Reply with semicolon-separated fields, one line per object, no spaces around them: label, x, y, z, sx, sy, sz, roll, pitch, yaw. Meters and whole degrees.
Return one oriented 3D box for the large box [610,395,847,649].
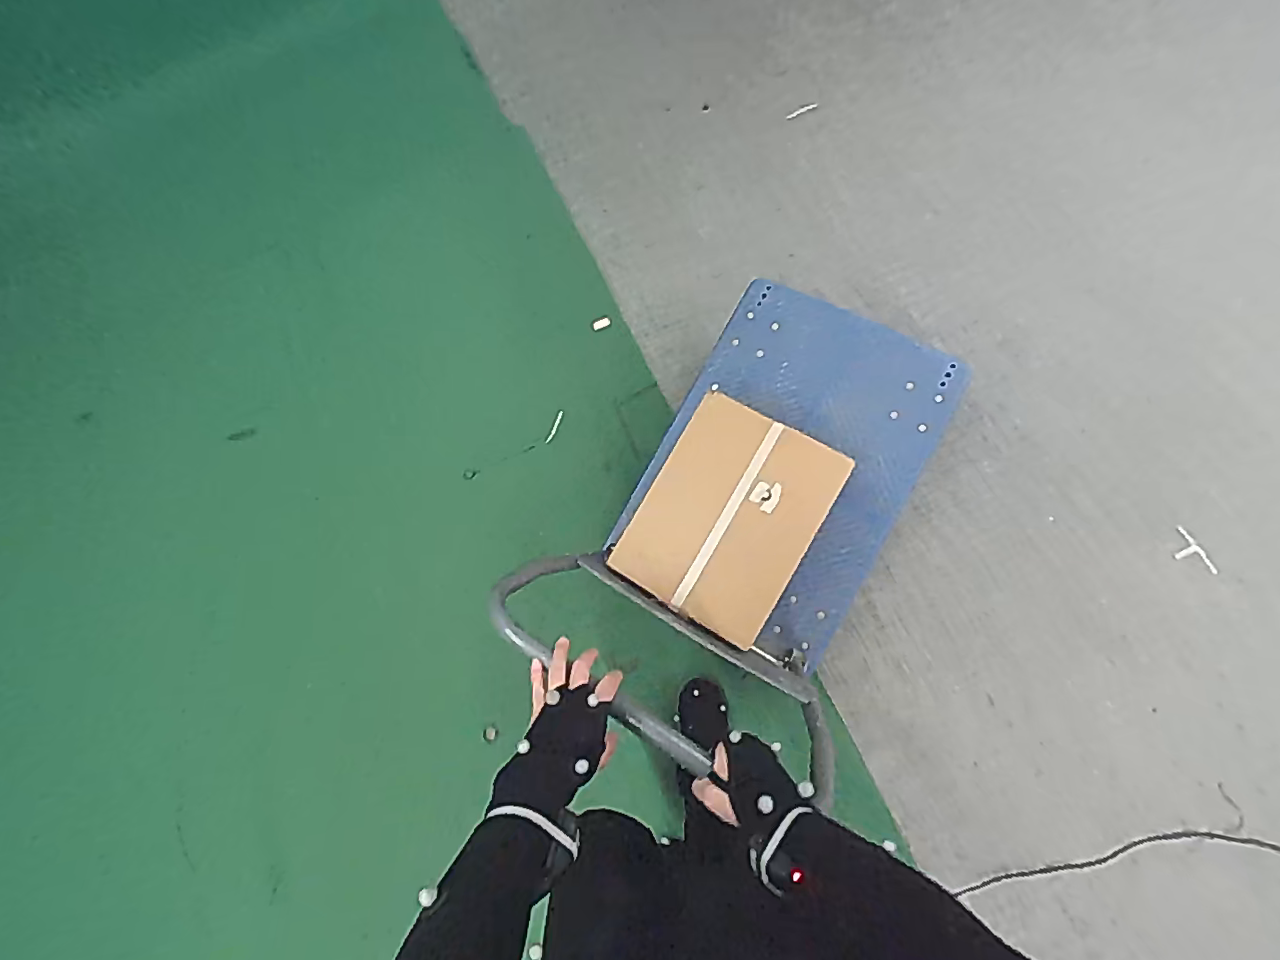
large box;0.190;0.099;1.176;0.320;0.320;0.408;30;86;14
